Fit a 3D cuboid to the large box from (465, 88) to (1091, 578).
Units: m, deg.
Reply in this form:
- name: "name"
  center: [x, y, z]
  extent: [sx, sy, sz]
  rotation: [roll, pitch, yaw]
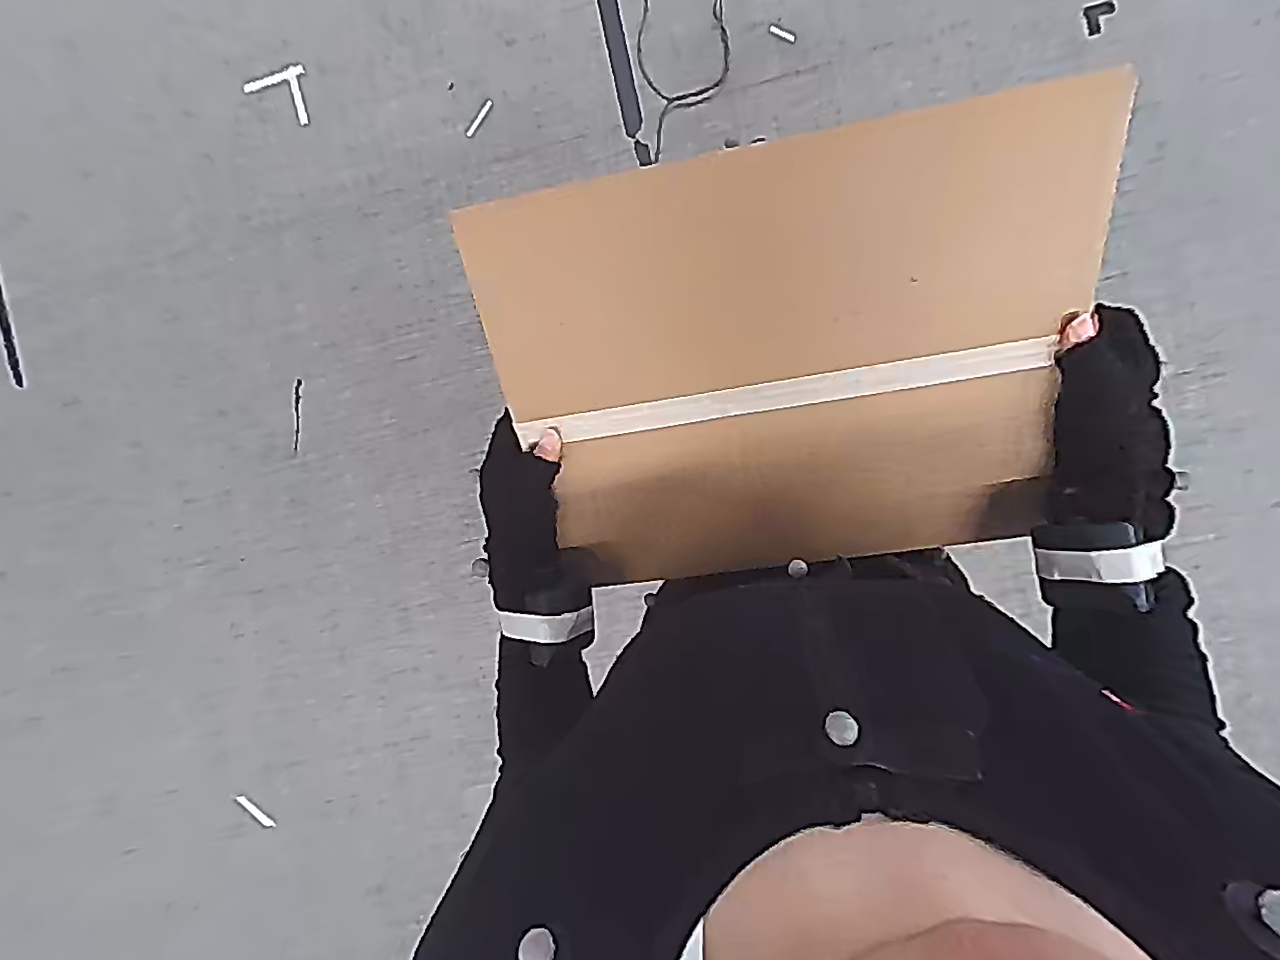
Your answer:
- name: "large box"
  center: [0.109, -0.141, 0.541]
  extent: [0.408, 0.320, 0.320]
  rotation: [-8, 117, 7]
